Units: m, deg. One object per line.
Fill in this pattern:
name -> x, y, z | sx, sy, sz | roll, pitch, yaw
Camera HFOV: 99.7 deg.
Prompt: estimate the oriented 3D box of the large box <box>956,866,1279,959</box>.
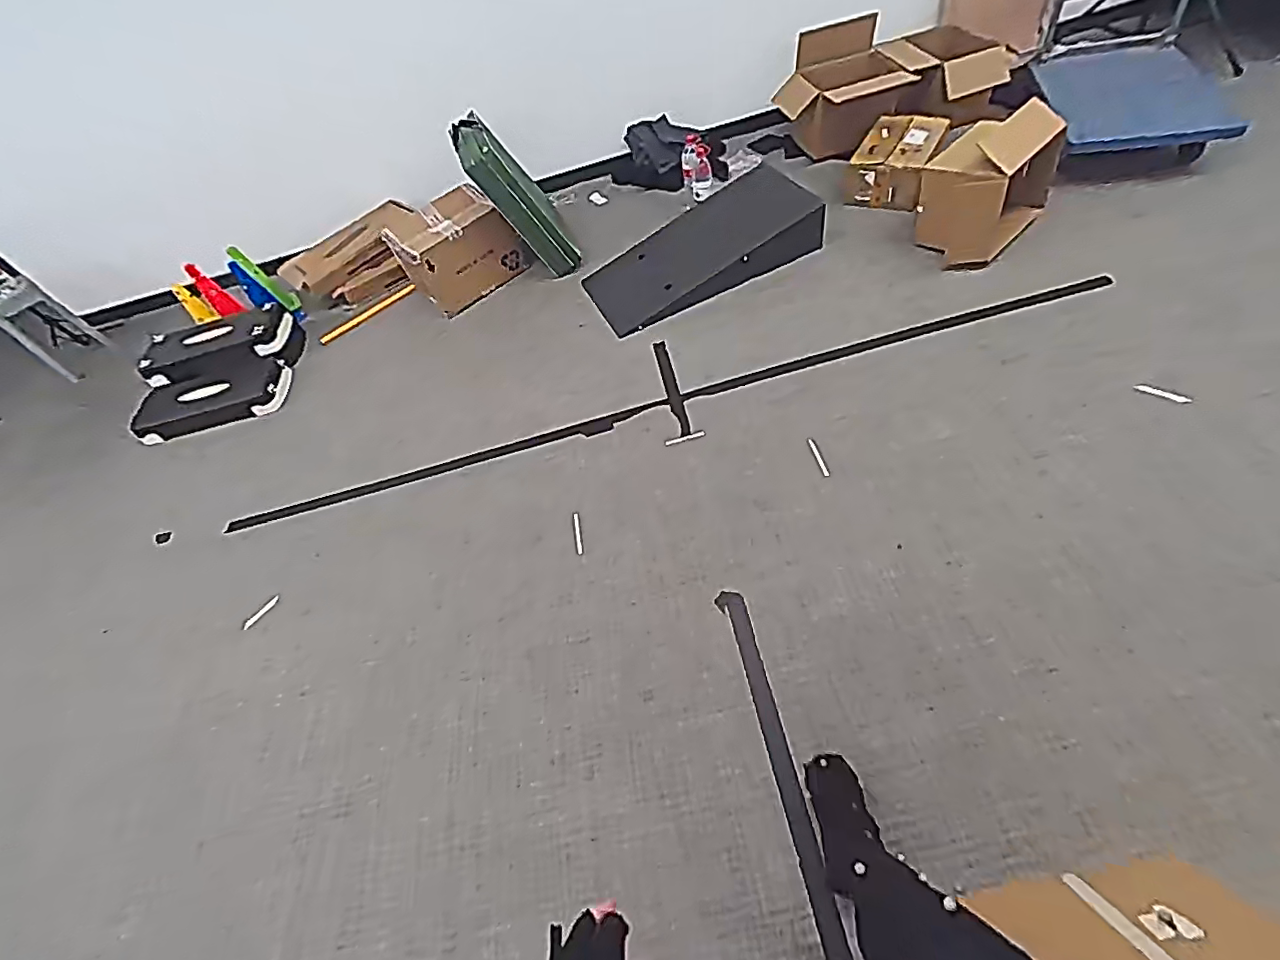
large box -> 0.618, 0.689, 0.558 | 0.320, 0.408, 0.320 | -15, 76, 6
